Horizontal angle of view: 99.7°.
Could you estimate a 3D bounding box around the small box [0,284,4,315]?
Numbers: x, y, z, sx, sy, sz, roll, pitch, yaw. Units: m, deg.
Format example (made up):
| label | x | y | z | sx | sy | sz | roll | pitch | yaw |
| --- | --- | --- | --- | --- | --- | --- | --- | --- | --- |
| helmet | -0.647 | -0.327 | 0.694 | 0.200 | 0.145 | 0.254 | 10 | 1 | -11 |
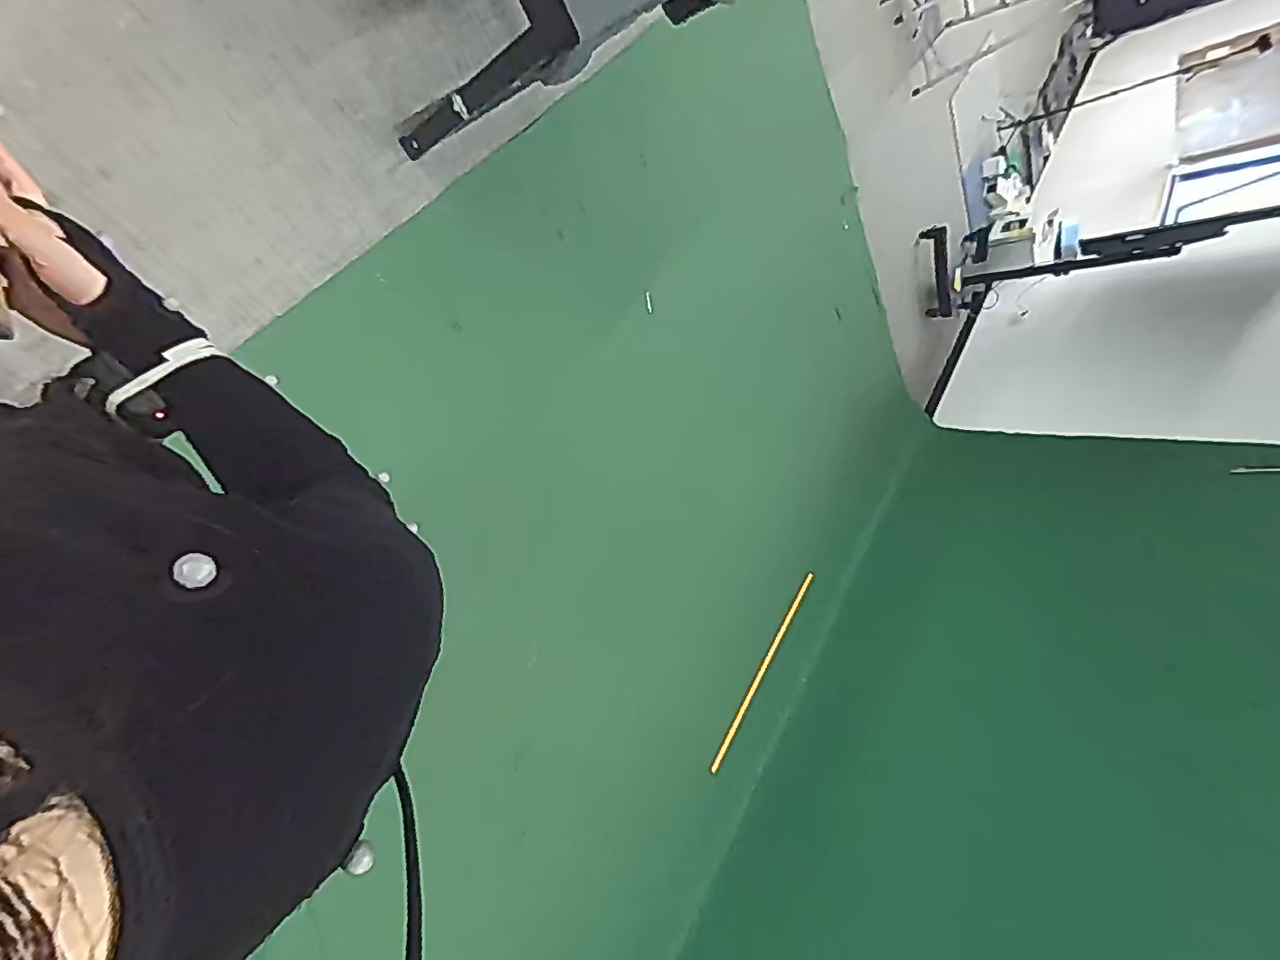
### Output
| label | x | y | z | sx | sy | sz | roll | pitch | yaw |
| --- | --- | --- | --- | --- | --- | --- | --- | --- | --- |
| small box | -0.474 | -0.179 | 0.280 | 0.168 | 0.176 | 0.179 | -13 | 105 | -48 |
